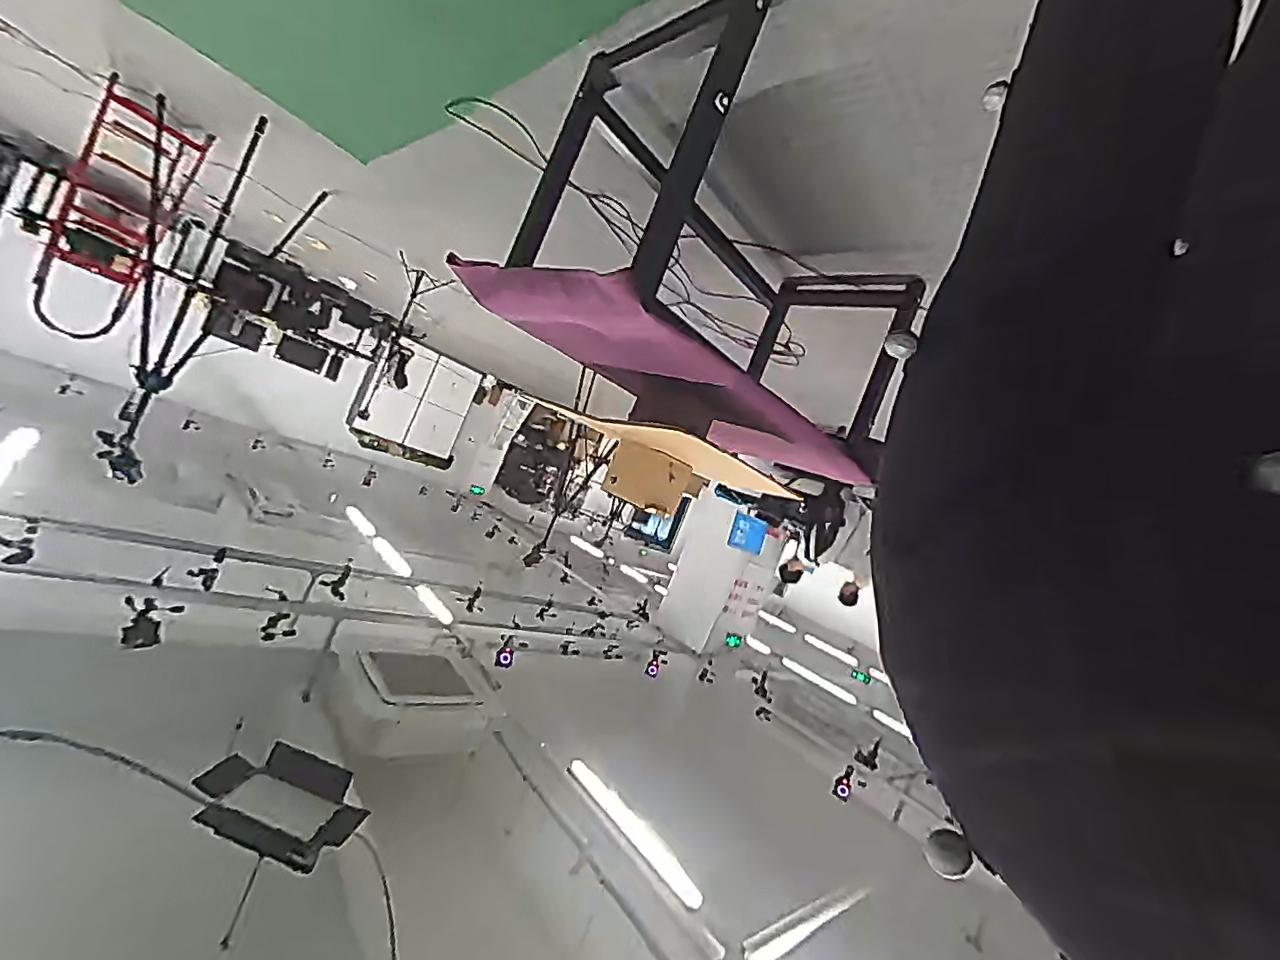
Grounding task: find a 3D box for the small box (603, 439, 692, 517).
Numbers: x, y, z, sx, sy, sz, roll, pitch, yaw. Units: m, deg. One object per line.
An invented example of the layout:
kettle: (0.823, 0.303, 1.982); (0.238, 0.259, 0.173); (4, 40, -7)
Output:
small box: (0.026, -0.011, 1.613); (0.179, 0.176, 0.168); (23, 180, 43)
